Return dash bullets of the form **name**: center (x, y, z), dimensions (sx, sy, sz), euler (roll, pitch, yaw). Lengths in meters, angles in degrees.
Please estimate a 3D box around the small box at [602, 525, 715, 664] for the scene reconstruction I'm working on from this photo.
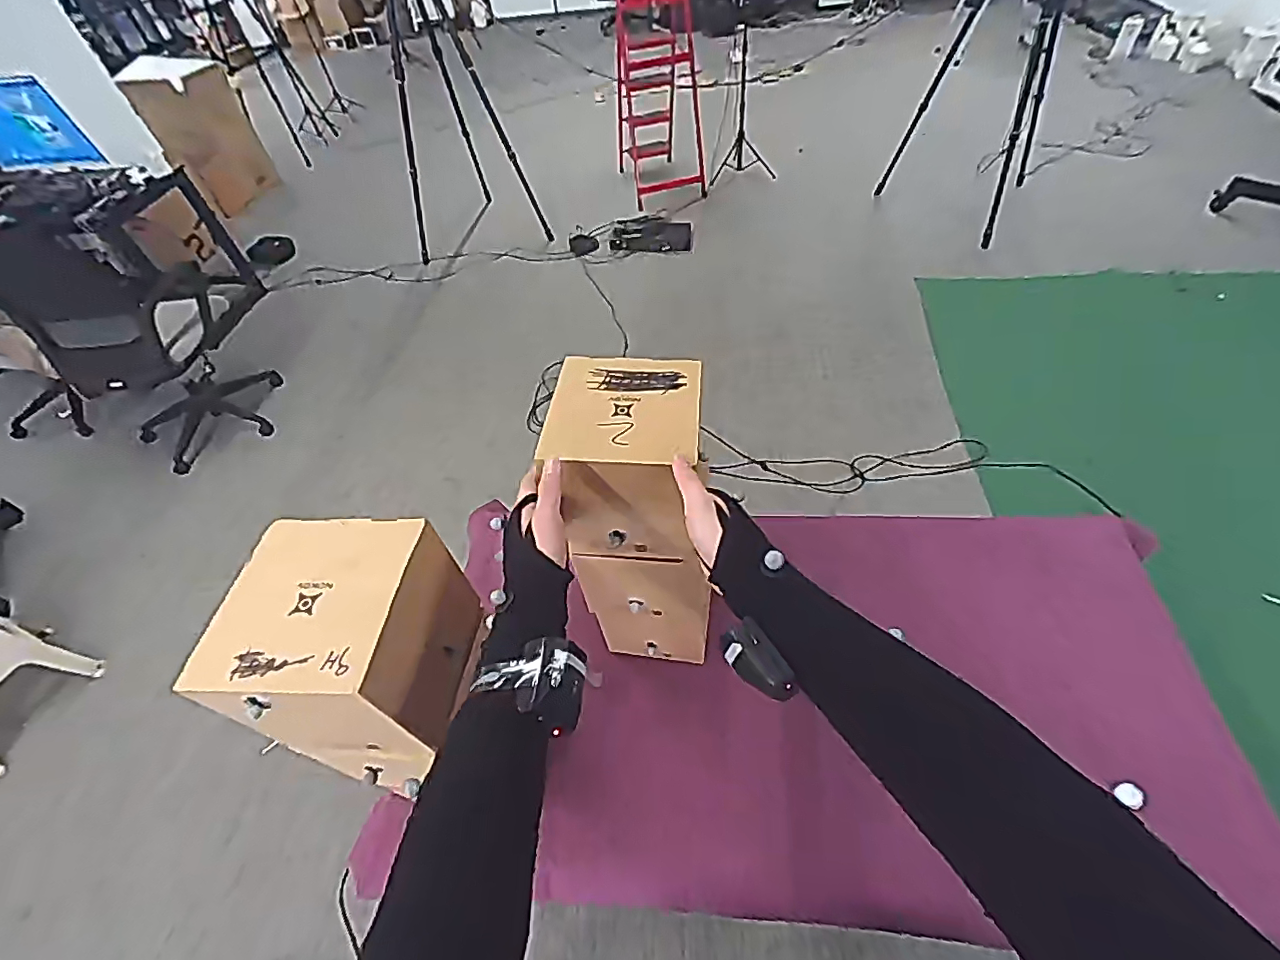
- **small box**: center (0.034, 0.185, 0.909), dimensions (0.168, 0.176, 0.179), euler (5, 52, 11)

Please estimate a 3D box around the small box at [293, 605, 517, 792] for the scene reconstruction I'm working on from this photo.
- **small box**: center (-0.267, 0.269, 0.668), dimensions (0.168, 0.176, 0.179), euler (0, 49, 9)

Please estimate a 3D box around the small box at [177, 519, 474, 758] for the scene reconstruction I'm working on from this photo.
- **small box**: center (-0.286, 0.158, 0.546), dimensions (0.168, 0.176, 0.179), euler (-2, 48, 8)

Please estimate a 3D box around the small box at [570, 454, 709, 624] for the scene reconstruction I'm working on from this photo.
- **small box**: center (0.011, 0.085, 0.780), dimensions (0.168, 0.176, 0.179), euler (3, 52, 10)

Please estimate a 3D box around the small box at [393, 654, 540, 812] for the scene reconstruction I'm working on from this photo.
- **small box**: center (-0.255, 0.367, 0.796), dimensions (0.168, 0.176, 0.179), euler (0, 50, 8)
